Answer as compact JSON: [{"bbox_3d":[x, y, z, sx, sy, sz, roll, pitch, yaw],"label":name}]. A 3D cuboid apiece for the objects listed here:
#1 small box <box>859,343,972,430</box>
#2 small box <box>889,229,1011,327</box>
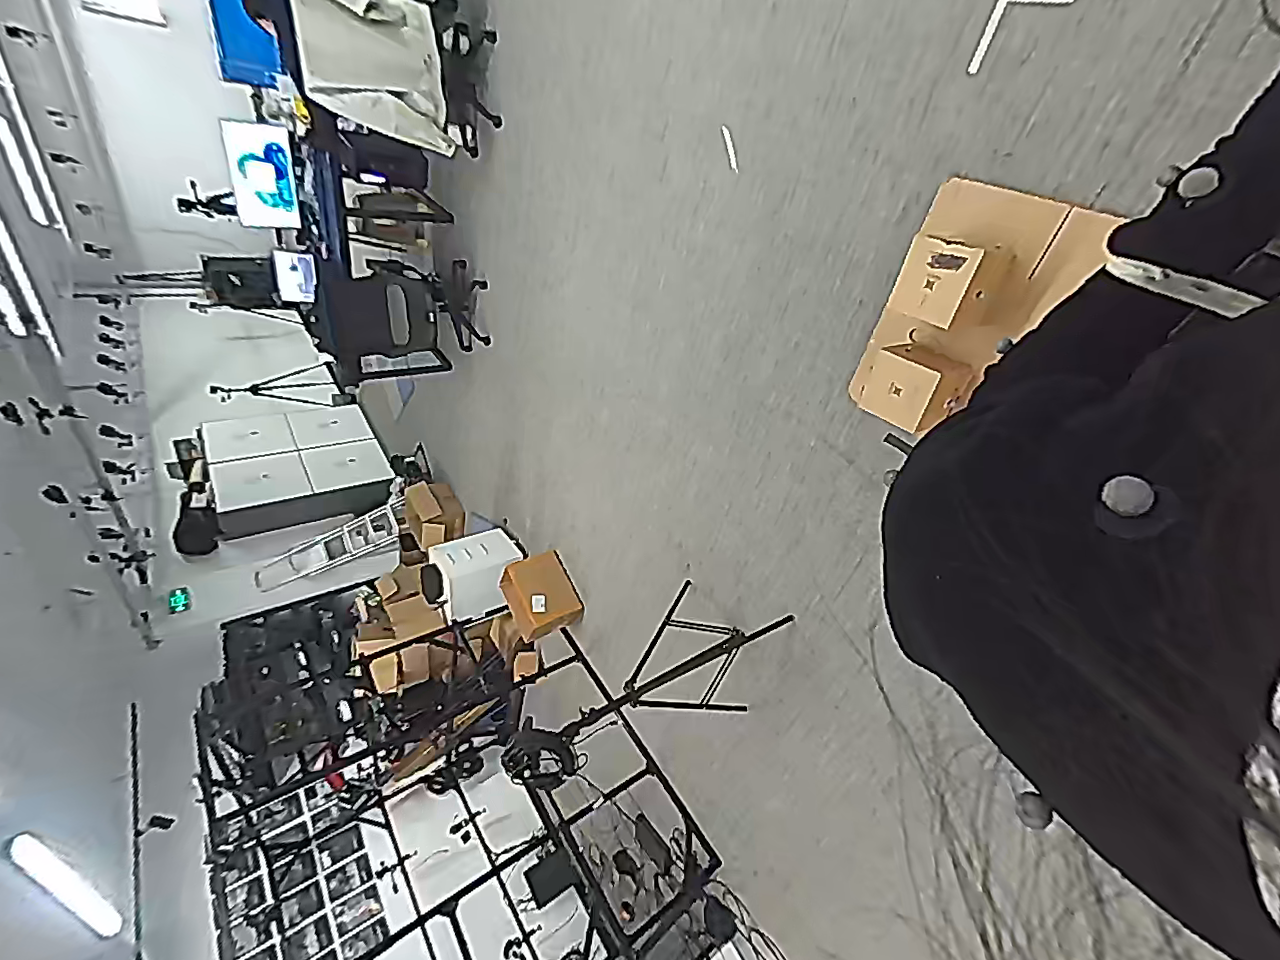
[{"bbox_3d":[0.713,-0.250,1.402,0.179,0.176,0.168,39,133,39],"label":"small box"},{"bbox_3d":[0.736,-0.478,1.279,0.168,0.176,0.179,41,134,38],"label":"small box"}]
